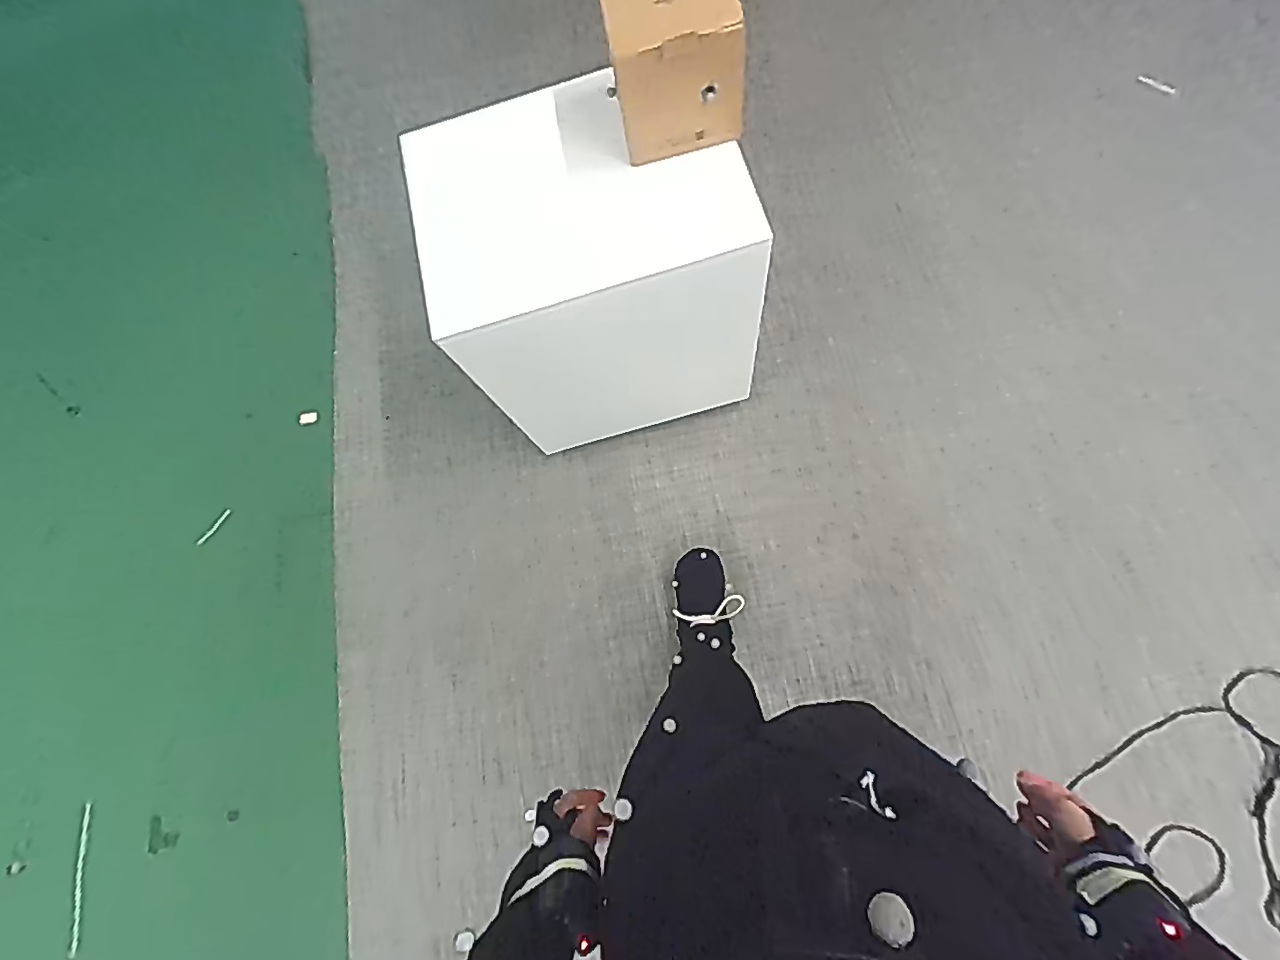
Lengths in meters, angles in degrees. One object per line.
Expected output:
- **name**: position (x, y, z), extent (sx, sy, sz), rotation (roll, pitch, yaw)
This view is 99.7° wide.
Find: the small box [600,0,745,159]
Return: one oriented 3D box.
- **small box**: position (0.046, -0.583, 0.753), extent (0.168, 0.176, 0.179), rotation (-12, 73, 4)
